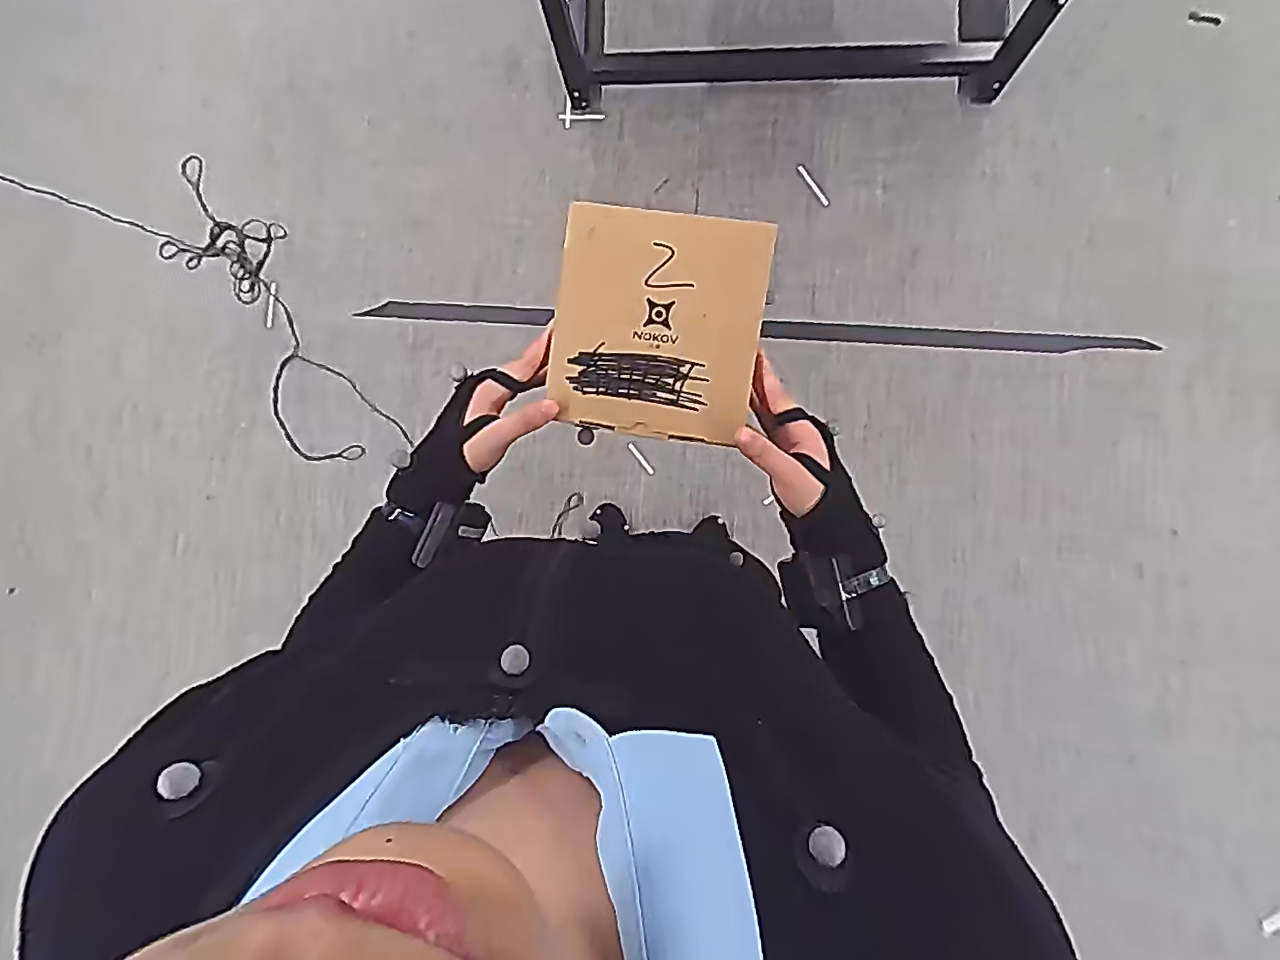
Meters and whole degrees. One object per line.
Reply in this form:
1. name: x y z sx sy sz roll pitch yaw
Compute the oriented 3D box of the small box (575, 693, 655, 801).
1. small box: -0.055 0.660 1.355 0.168 0.176 0.179 8 87 4
